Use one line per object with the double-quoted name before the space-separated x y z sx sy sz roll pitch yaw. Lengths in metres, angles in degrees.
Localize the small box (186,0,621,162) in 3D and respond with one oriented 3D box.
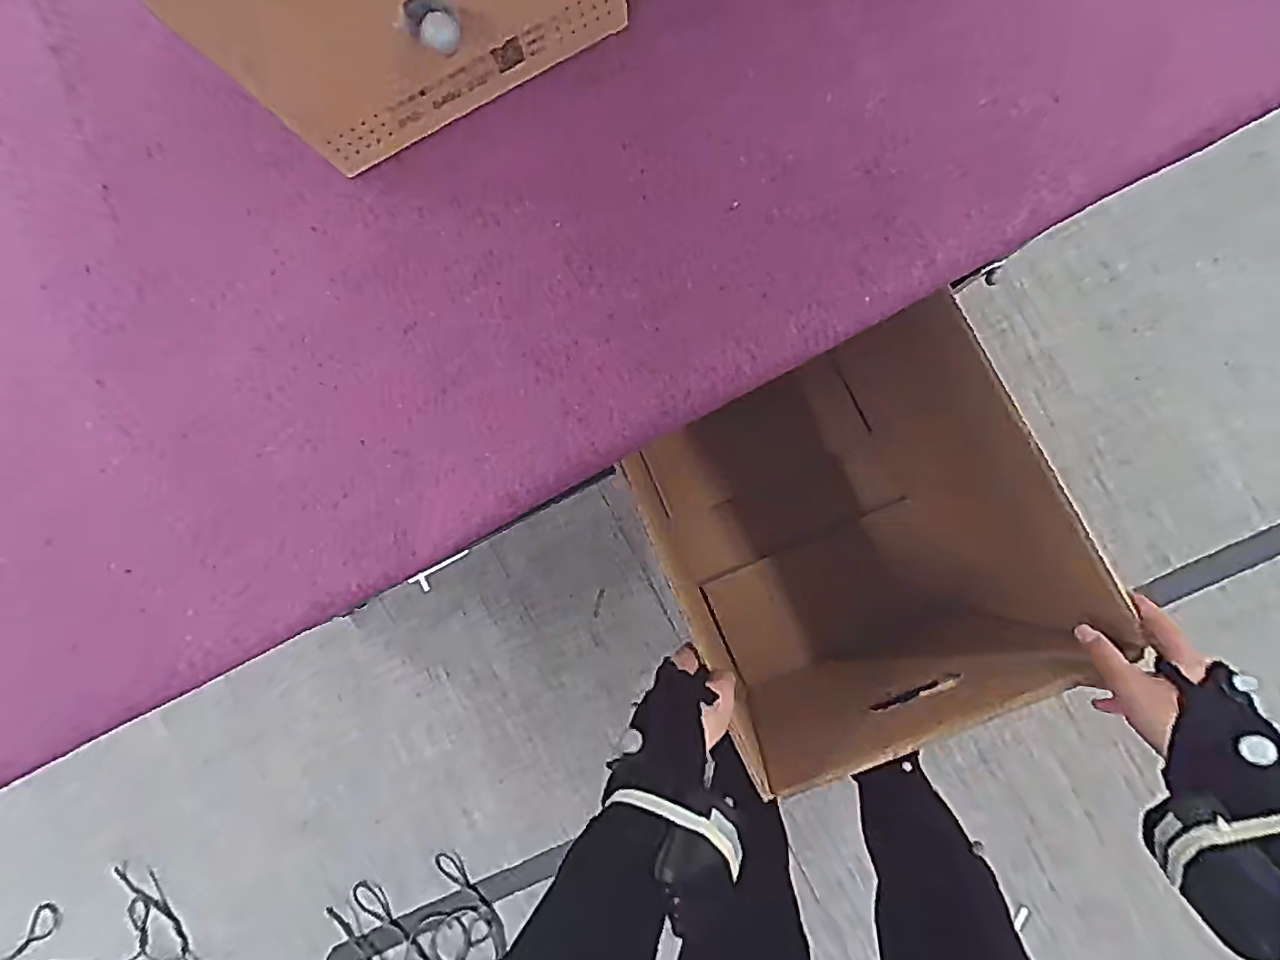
"small box" -0.121 -0.271 0.200 0.168 0.176 0.179 -25 88 6
